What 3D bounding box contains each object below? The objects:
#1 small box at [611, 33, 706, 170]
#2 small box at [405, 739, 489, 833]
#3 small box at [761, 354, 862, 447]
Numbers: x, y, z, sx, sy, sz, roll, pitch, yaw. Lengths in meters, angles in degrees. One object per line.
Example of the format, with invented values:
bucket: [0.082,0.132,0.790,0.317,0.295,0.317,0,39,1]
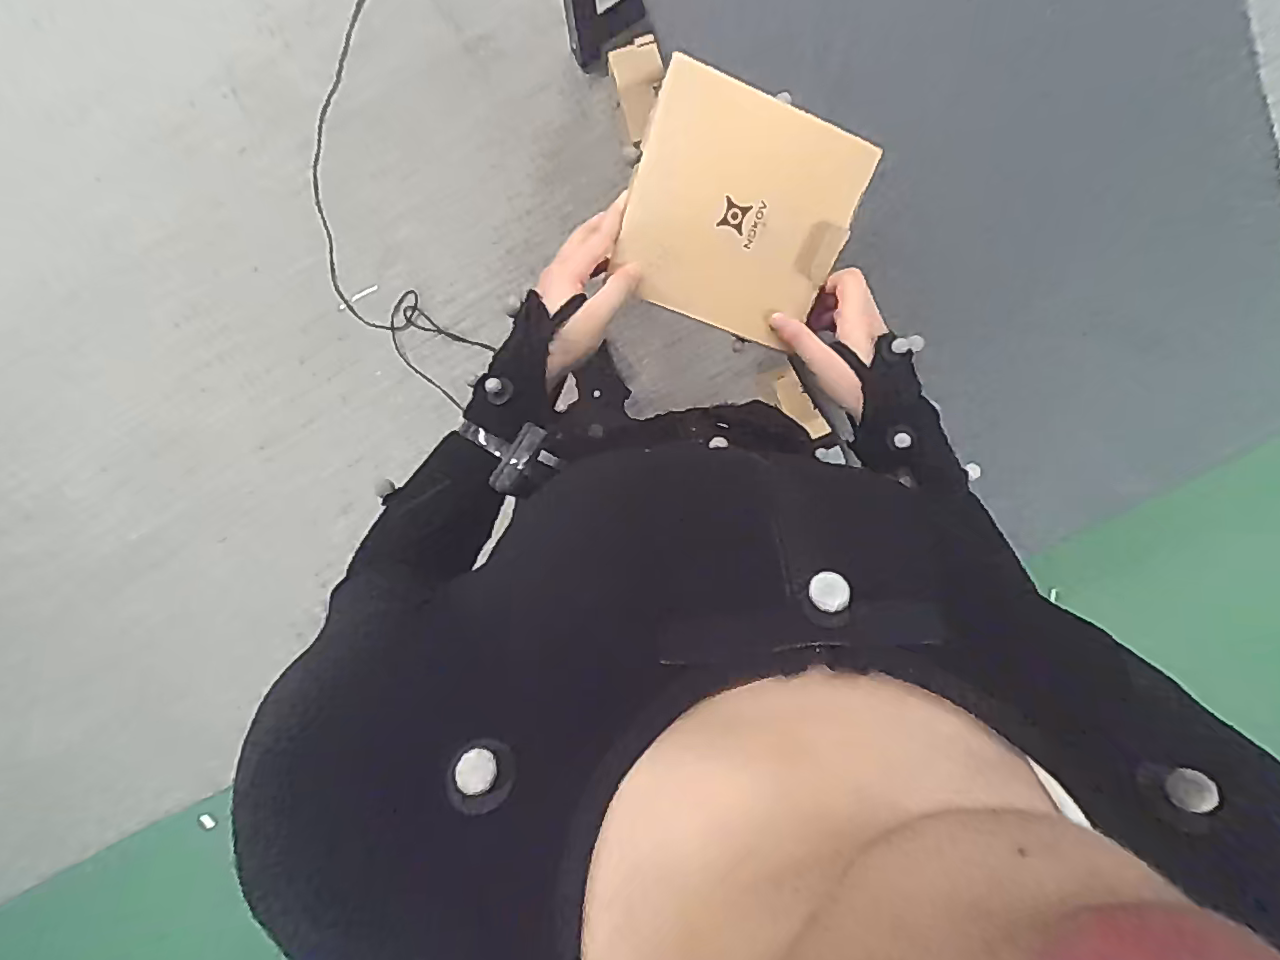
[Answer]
small box: [0.036,-0.830,1.205,0.168,0.176,0.179,-17,102,3]
small box: [-0.555,0.889,1.585,0.179,0.176,0.168,-10,103,1]
small box: [0.423,-0.203,1.359,0.168,0.176,0.179,-24,104,4]
